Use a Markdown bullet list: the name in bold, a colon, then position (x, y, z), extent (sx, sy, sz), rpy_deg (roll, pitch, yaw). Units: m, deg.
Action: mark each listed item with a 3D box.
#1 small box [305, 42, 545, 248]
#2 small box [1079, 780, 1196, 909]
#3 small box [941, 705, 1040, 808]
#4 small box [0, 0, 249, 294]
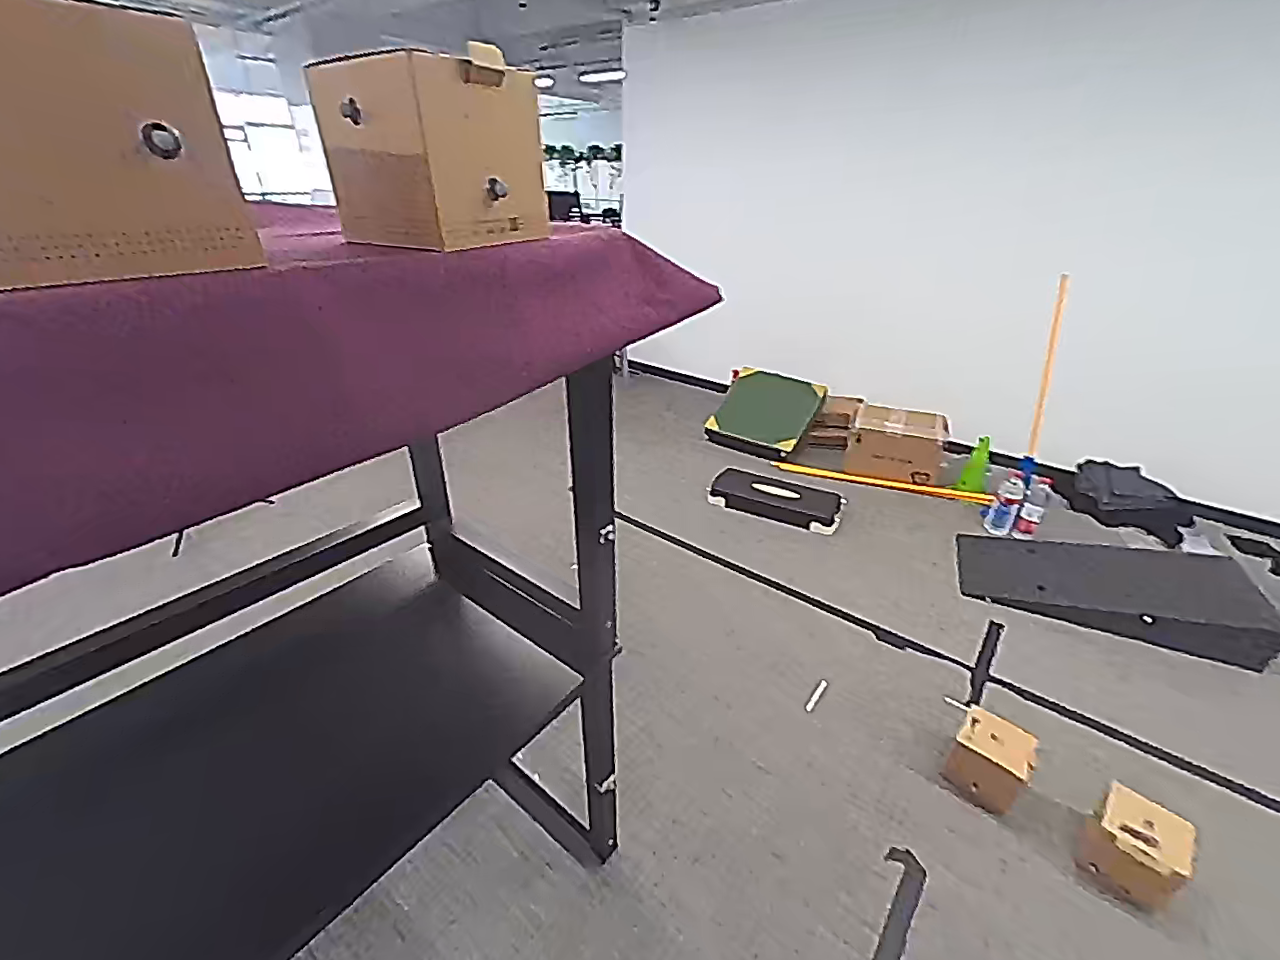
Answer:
- **small box**: position (-0.227, -0.357, 0.603), extent (0.179, 0.176, 0.168), rpy_deg (17, 34, 28)
- **small box**: position (1.248, 0.918, 1.362), extent (0.168, 0.176, 0.179), rpy_deg (27, 37, 37)
- **small box**: position (1.006, 0.802, 1.558), extent (0.179, 0.176, 0.168), rpy_deg (27, 38, 36)
- **small box**: position (-0.426, -0.244, 0.402), extent (0.168, 0.176, 0.179), rpy_deg (23, 37, 36)
